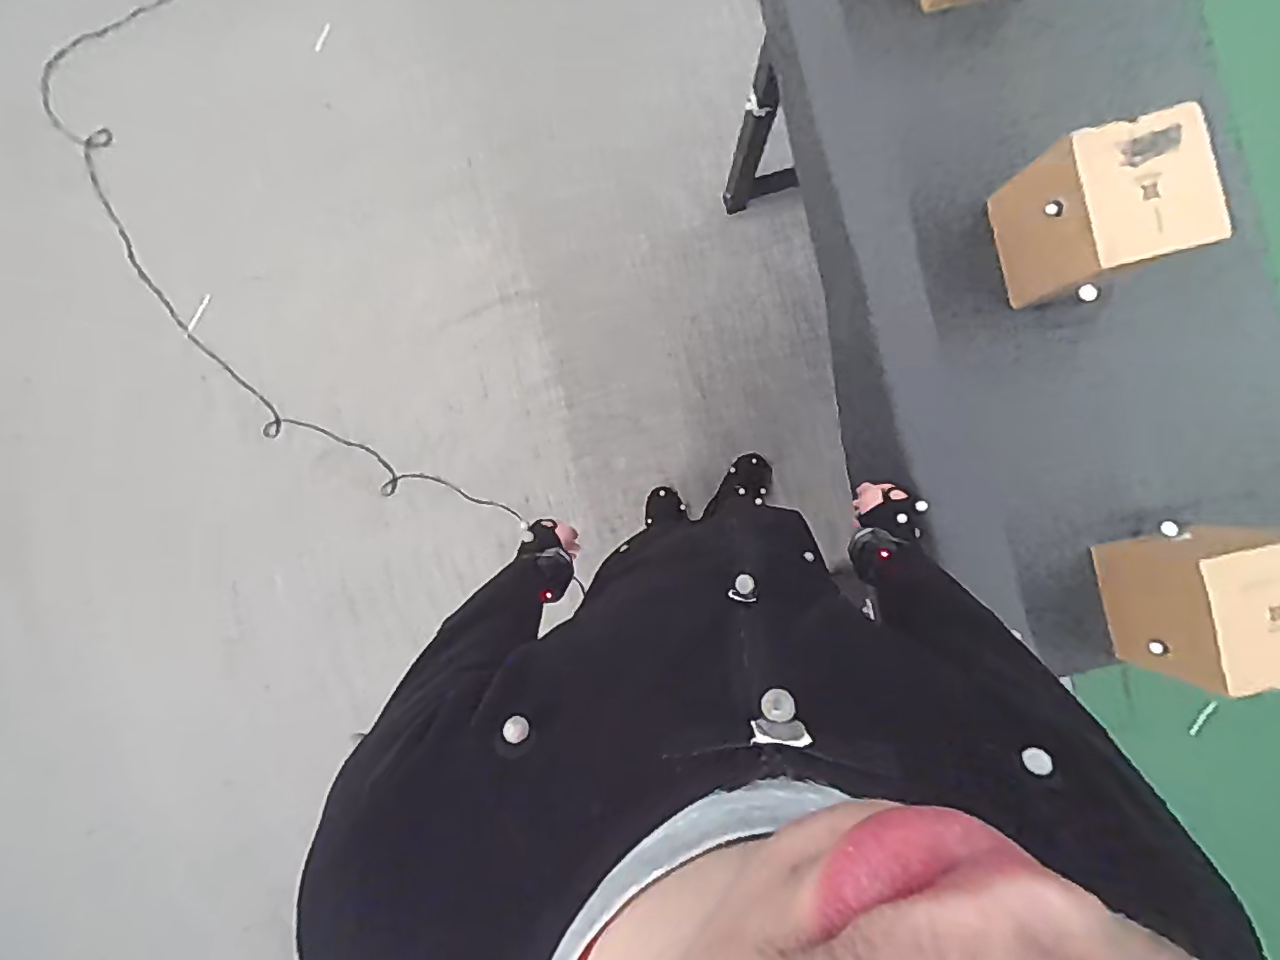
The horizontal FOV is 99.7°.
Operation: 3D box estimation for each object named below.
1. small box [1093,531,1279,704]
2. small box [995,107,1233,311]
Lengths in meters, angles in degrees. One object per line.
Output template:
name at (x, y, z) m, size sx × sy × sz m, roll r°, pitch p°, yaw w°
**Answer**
small box at (0.778, 0.175, 0.739) m, size 0.168 × 0.176 × 0.179 m, roll -12°, pitch 88°, yaw 0°
small box at (0.628, -0.355, 0.741) m, size 0.168 × 0.176 × 0.179 m, roll -13°, pitch 91°, yaw 2°
